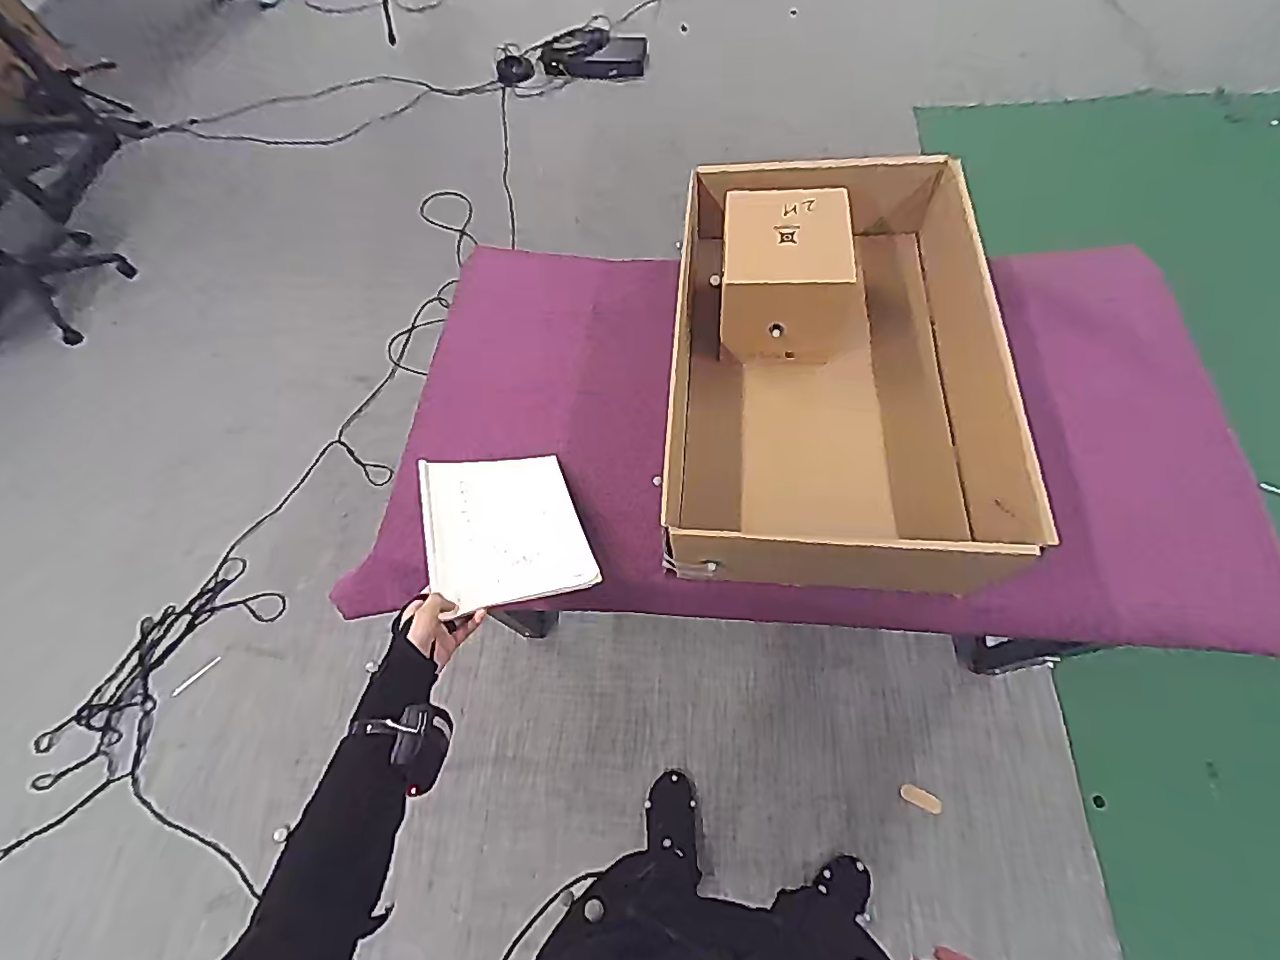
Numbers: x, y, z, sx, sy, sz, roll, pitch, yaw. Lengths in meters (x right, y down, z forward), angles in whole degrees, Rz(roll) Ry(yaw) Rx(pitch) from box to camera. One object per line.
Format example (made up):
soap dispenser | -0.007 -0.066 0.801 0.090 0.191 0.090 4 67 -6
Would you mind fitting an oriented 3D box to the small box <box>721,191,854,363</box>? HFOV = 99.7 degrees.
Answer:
small box | 0.205 -0.287 0.790 0.168 0.176 0.179 2 65 7
